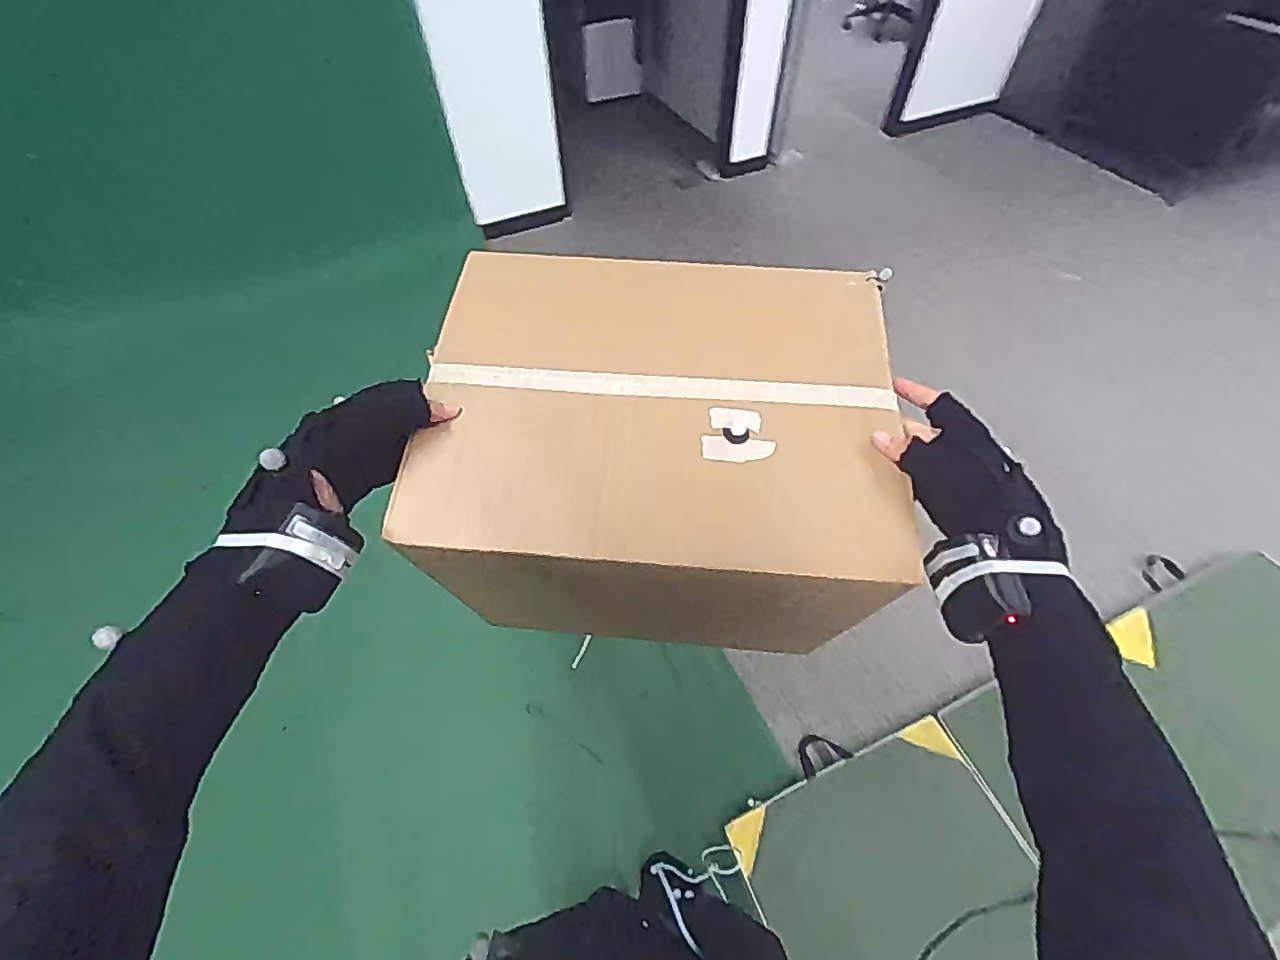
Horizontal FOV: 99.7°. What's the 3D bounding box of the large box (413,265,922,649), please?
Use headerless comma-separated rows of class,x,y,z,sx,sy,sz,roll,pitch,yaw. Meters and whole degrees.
large box,0.028,-0.006,0.614,0.408,0.320,0.320,5,63,2
